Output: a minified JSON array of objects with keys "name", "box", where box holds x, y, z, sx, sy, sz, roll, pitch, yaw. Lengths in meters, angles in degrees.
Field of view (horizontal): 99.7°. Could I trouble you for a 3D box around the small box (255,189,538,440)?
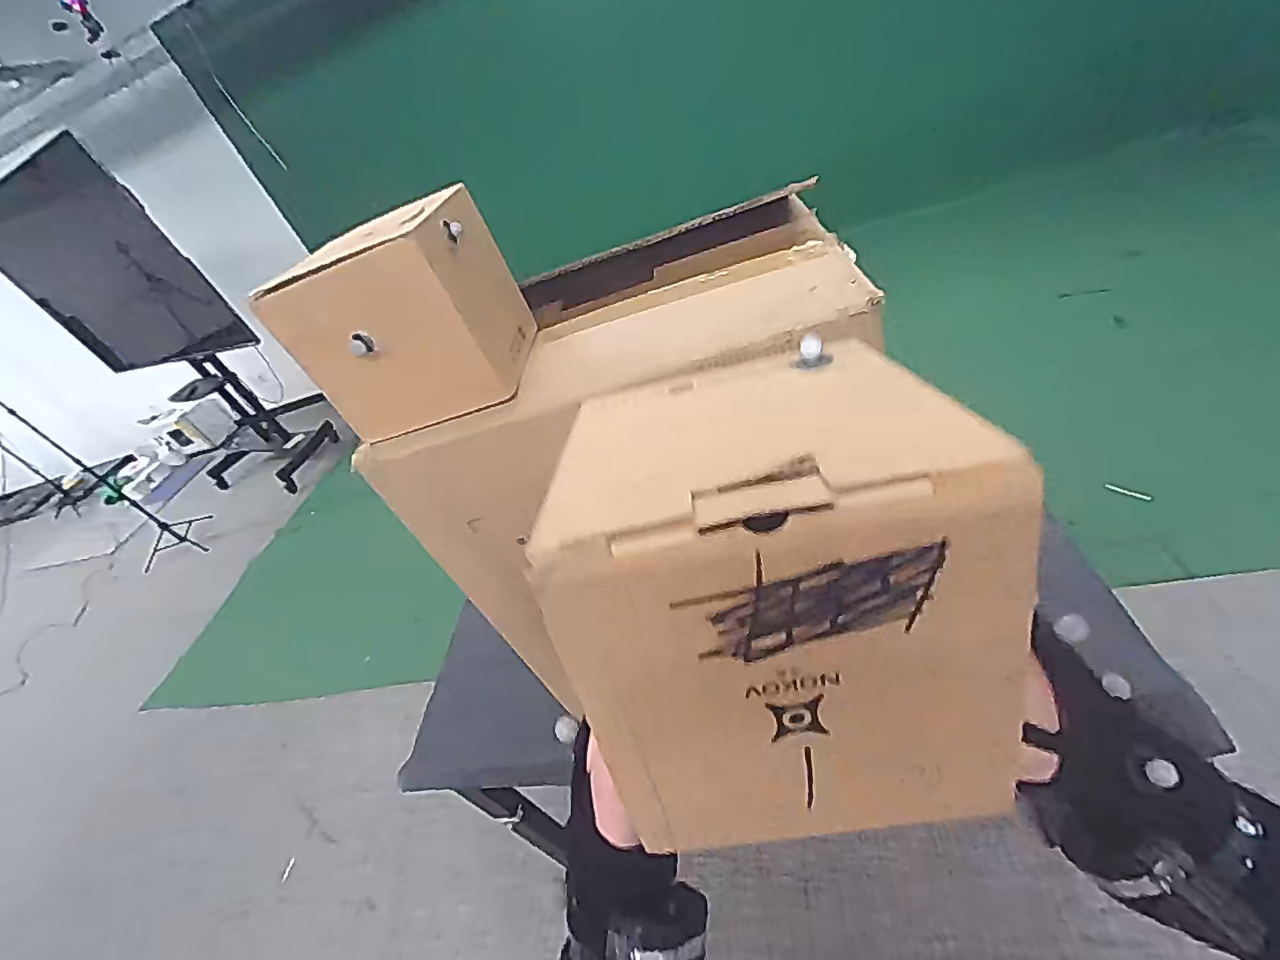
[{"name":"small box","box":[-0.233,-0.166,0.567,0.179,0.176,0.168,-16,40,14]}]
